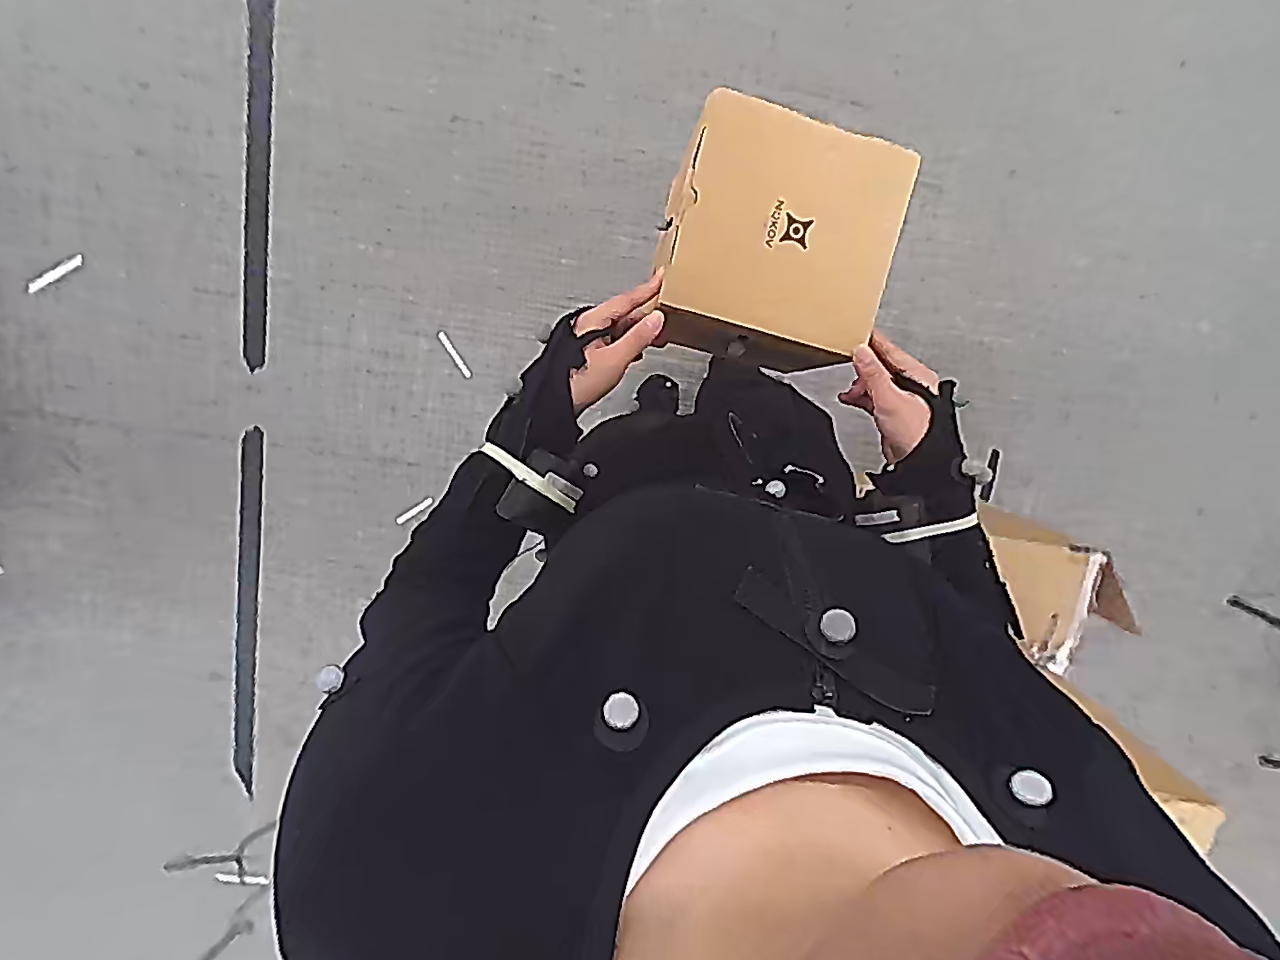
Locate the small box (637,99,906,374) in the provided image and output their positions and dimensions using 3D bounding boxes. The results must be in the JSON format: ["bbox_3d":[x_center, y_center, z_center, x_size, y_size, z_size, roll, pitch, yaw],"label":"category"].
[{"bbox_3d":[0.102,-0.200,0.503,0.179,0.176,0.168,12,94,-5],"label":"small box"}]

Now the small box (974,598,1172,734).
[{"bbox_3d":[0.679,0.307,0.873,0.168,0.176,0.179,5,104,-2],"label":"small box"}]
